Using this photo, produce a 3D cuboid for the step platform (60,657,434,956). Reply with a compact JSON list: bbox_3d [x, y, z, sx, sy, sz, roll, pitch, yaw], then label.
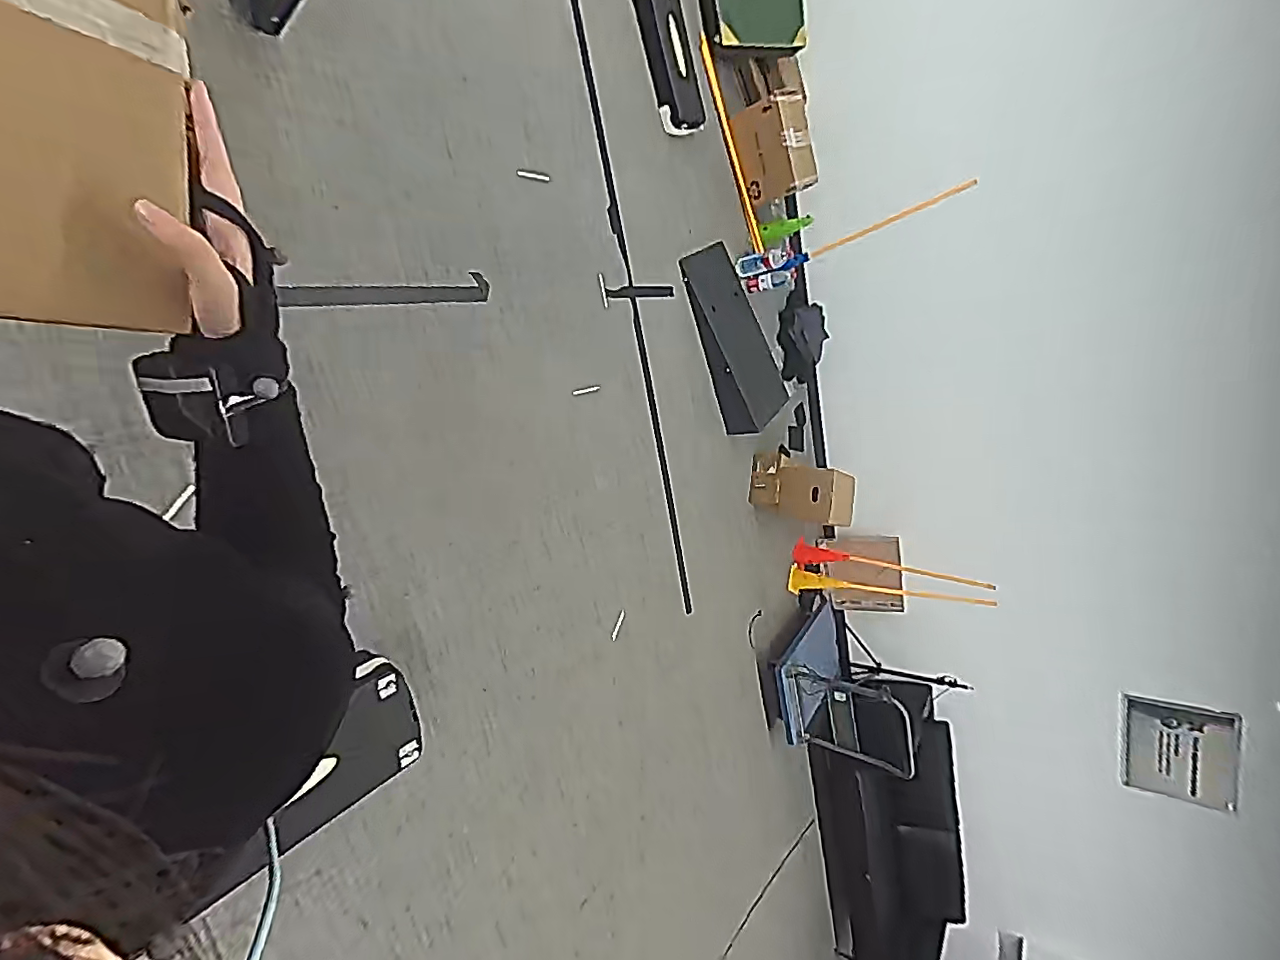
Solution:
[{"bbox_3d":[-0.828,0.682,1.248,0.684,0.204,0.286,-17,102,-51],"label":"step platform"}]
